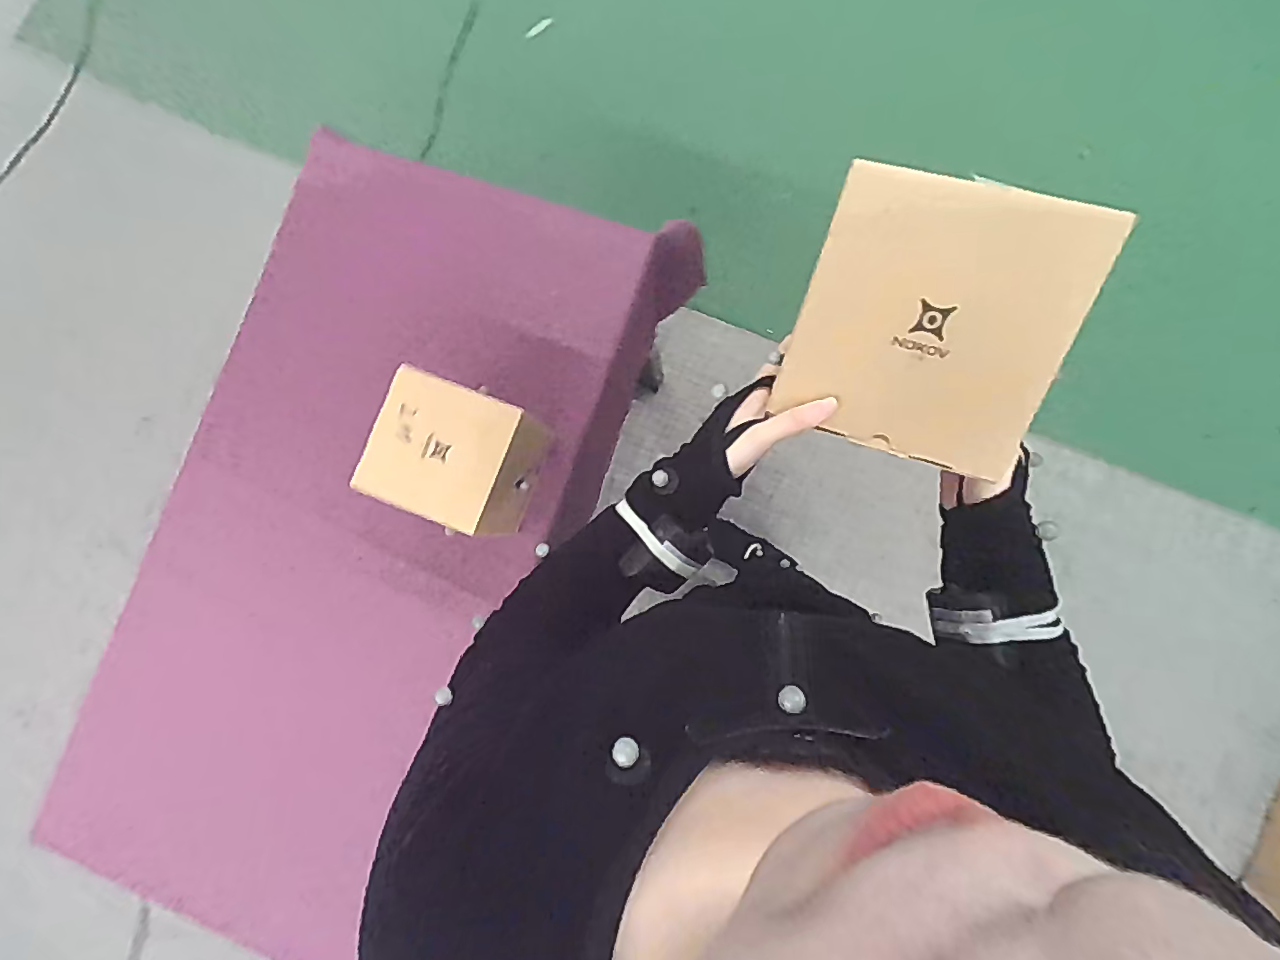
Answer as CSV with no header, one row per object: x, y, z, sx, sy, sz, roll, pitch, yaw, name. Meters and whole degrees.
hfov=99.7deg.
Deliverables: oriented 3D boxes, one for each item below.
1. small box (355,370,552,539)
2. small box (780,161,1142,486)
-0.240,-0.028,0.743,0.179,0.176,0.168,20,86,7,small box
0.221,-0.122,0.432,0.168,0.176,0.179,20,111,12,small box
